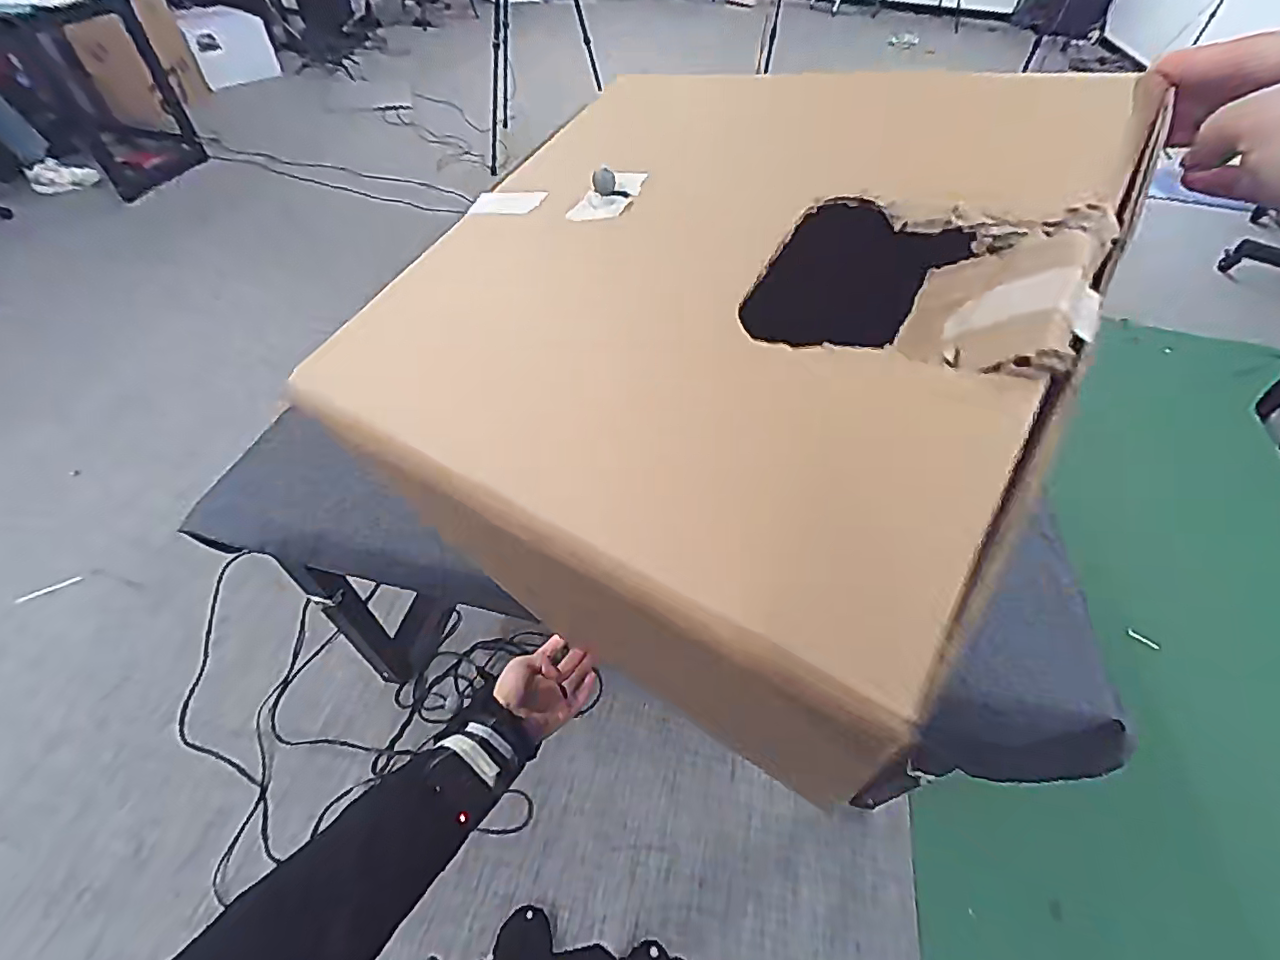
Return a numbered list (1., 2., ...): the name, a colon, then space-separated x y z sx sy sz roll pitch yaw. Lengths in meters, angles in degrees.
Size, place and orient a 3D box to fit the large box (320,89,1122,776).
1. large box: 0.070 -0.010 0.429 0.320 0.408 0.320 24 67 27
